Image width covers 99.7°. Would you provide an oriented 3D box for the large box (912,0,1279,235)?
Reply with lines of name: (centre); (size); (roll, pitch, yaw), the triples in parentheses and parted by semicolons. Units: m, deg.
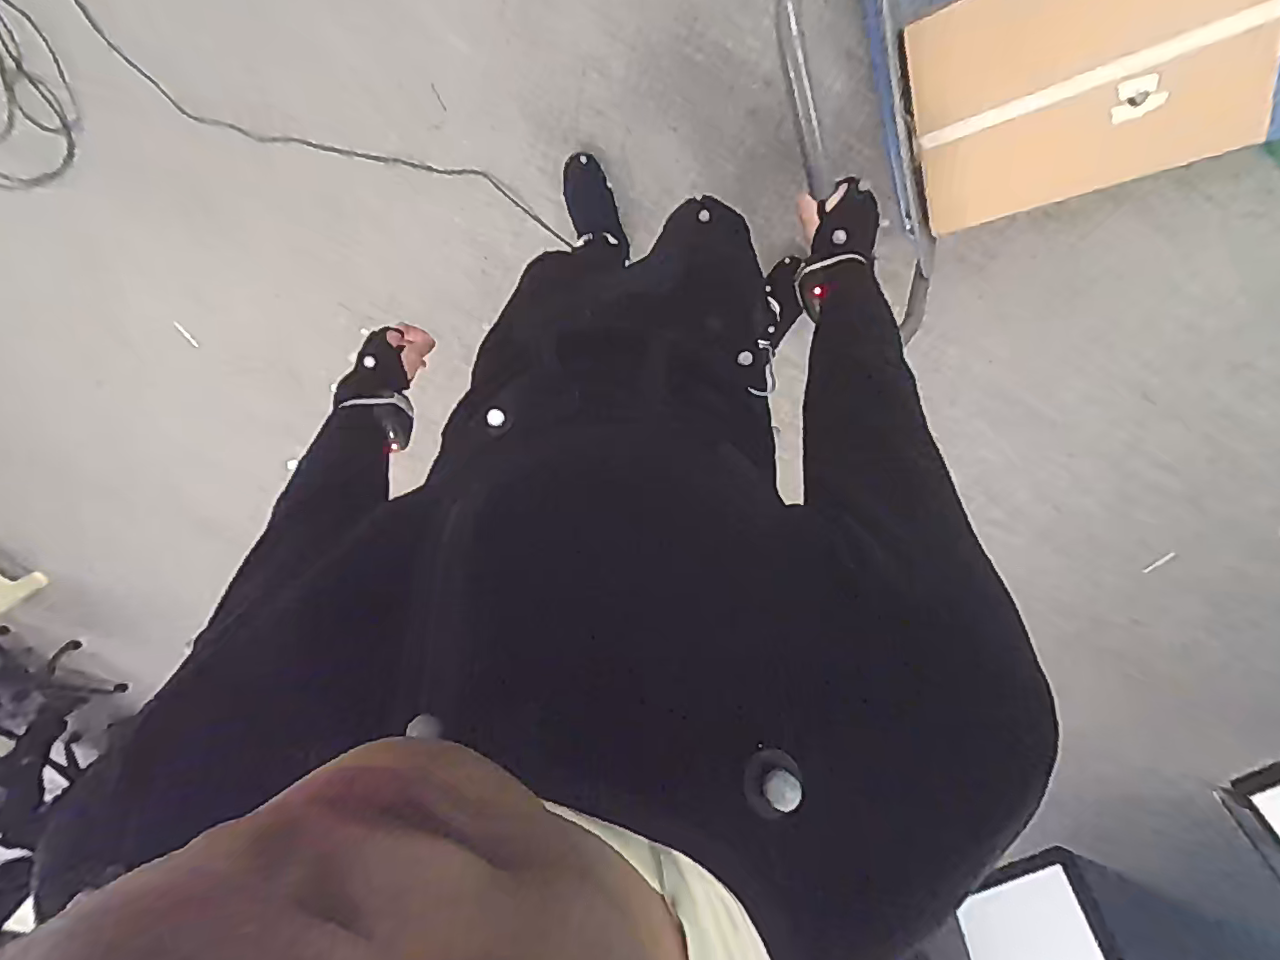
large box: (0.679, -0.649, 0.860); (0.408, 0.320, 0.320); (-6, 126, 31)
